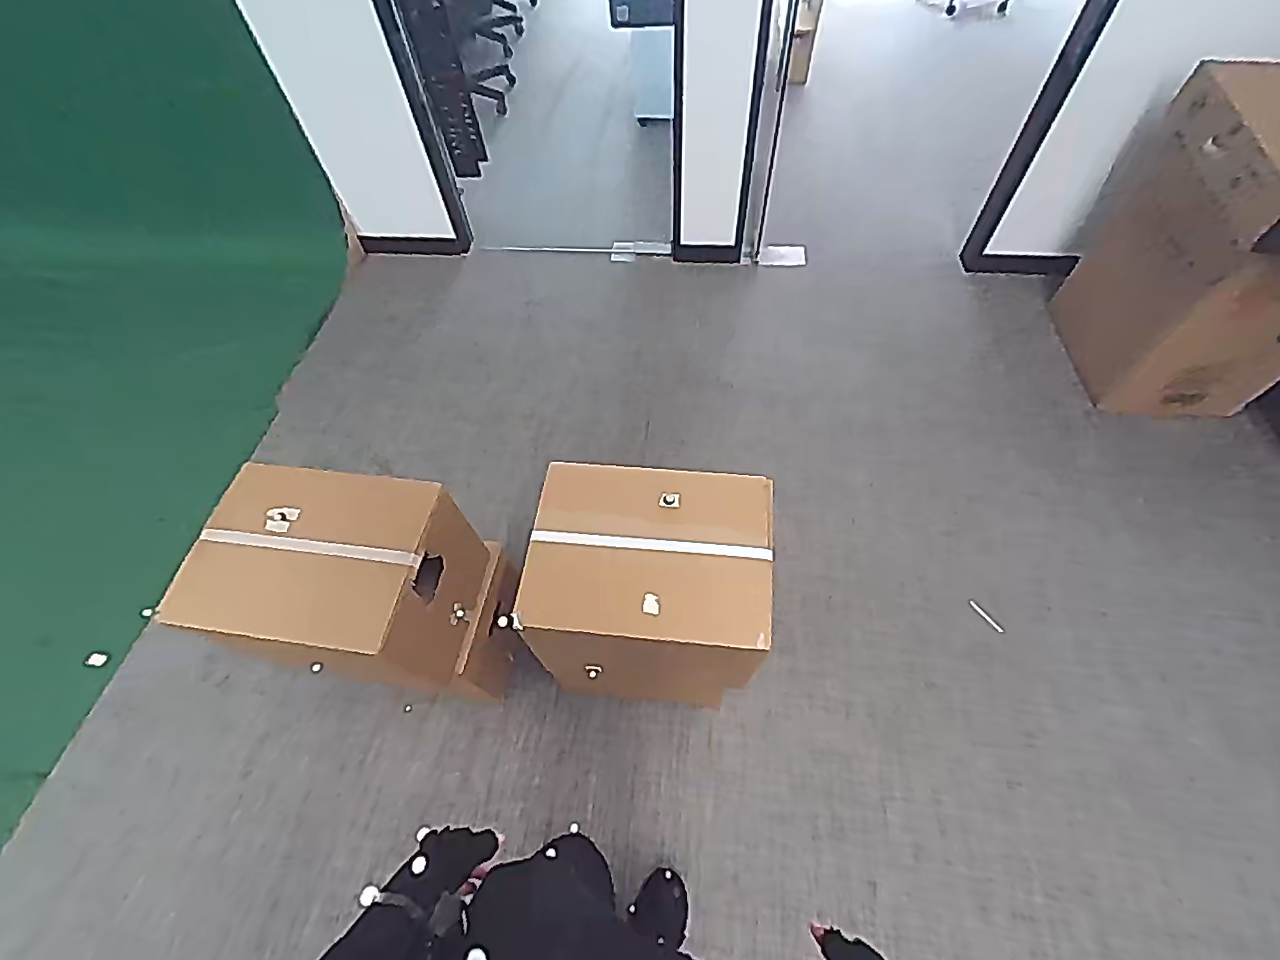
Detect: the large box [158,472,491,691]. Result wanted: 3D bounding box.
[{"bbox_3d":[-0.561,0.206,1.058,0.408,0.320,0.320,6,59,9],"label":"large box"}]
